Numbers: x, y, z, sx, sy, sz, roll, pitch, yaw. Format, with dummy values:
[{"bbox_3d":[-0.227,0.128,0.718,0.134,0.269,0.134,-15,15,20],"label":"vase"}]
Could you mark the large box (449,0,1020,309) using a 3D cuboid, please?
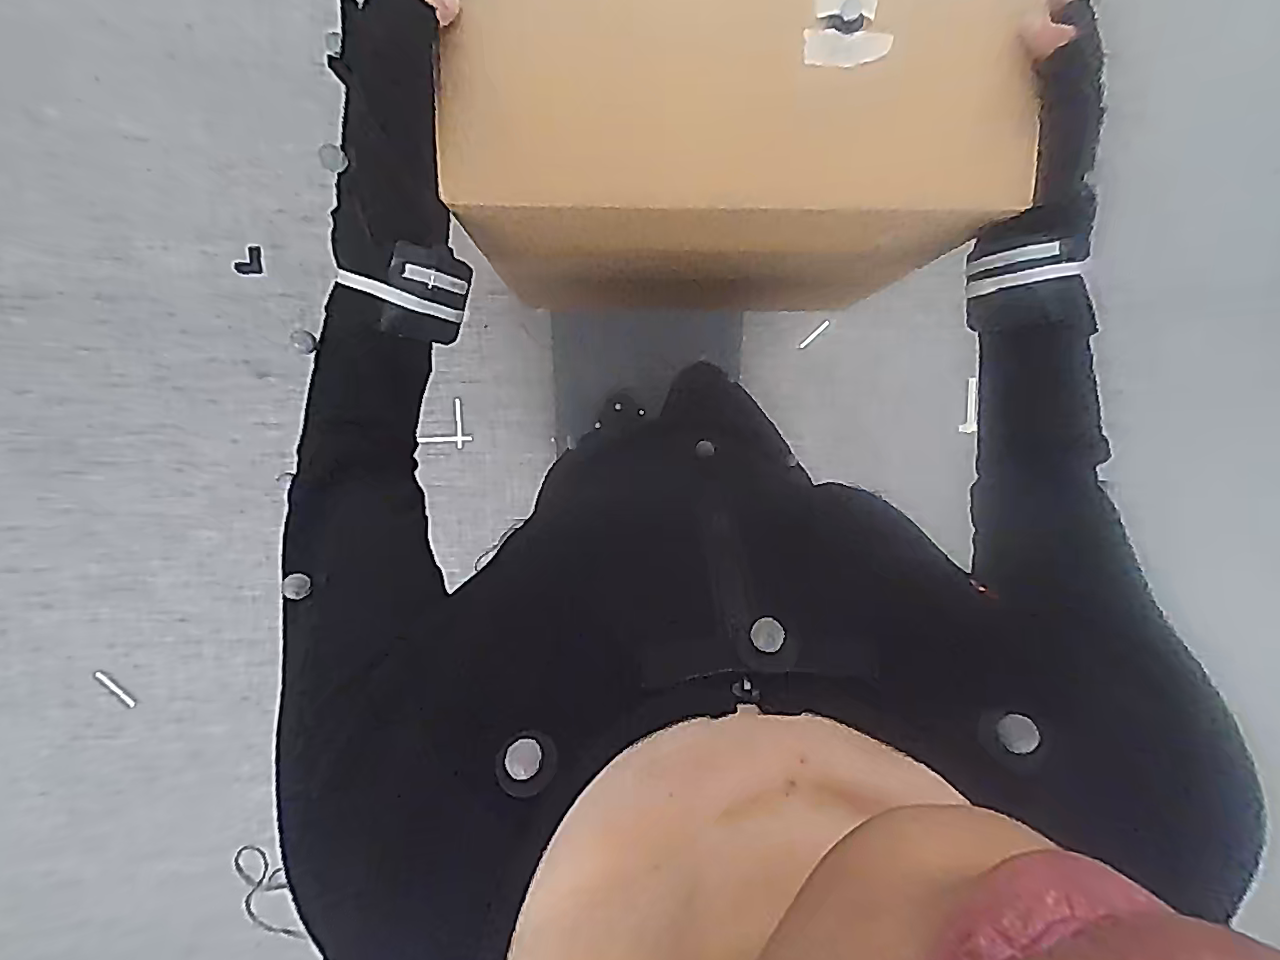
[{"bbox_3d":[0.060,-0.360,0.519,0.408,0.320,0.320,-1,95,-2],"label":"large box"}]
